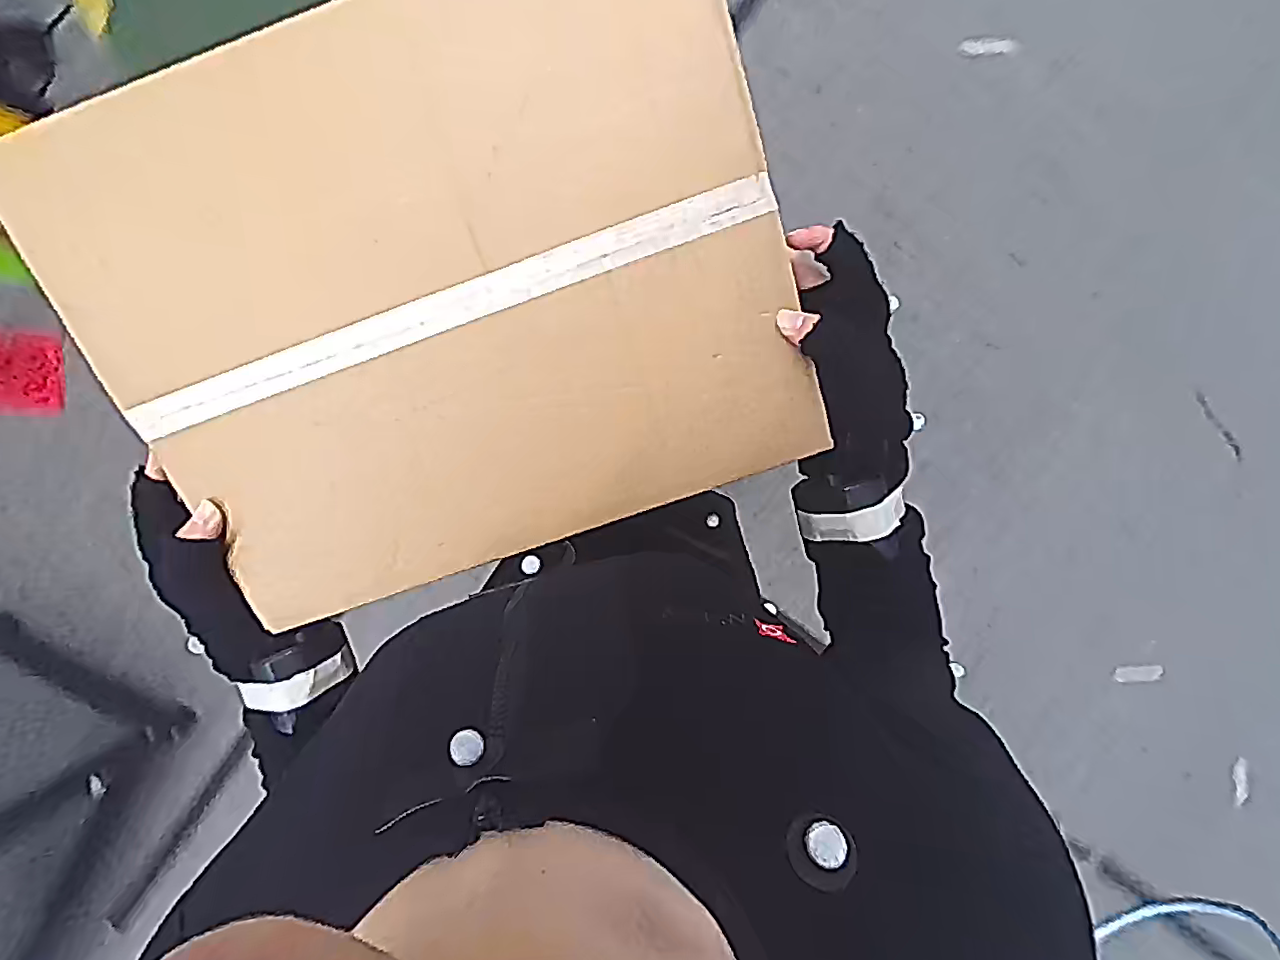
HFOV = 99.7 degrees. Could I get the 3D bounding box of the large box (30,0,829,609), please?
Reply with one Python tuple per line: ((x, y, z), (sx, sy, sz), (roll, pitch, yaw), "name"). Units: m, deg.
((-0.113, -0.147, 0.470), (0.408, 0.320, 0.320), (-17, 108, 3), "large box")
